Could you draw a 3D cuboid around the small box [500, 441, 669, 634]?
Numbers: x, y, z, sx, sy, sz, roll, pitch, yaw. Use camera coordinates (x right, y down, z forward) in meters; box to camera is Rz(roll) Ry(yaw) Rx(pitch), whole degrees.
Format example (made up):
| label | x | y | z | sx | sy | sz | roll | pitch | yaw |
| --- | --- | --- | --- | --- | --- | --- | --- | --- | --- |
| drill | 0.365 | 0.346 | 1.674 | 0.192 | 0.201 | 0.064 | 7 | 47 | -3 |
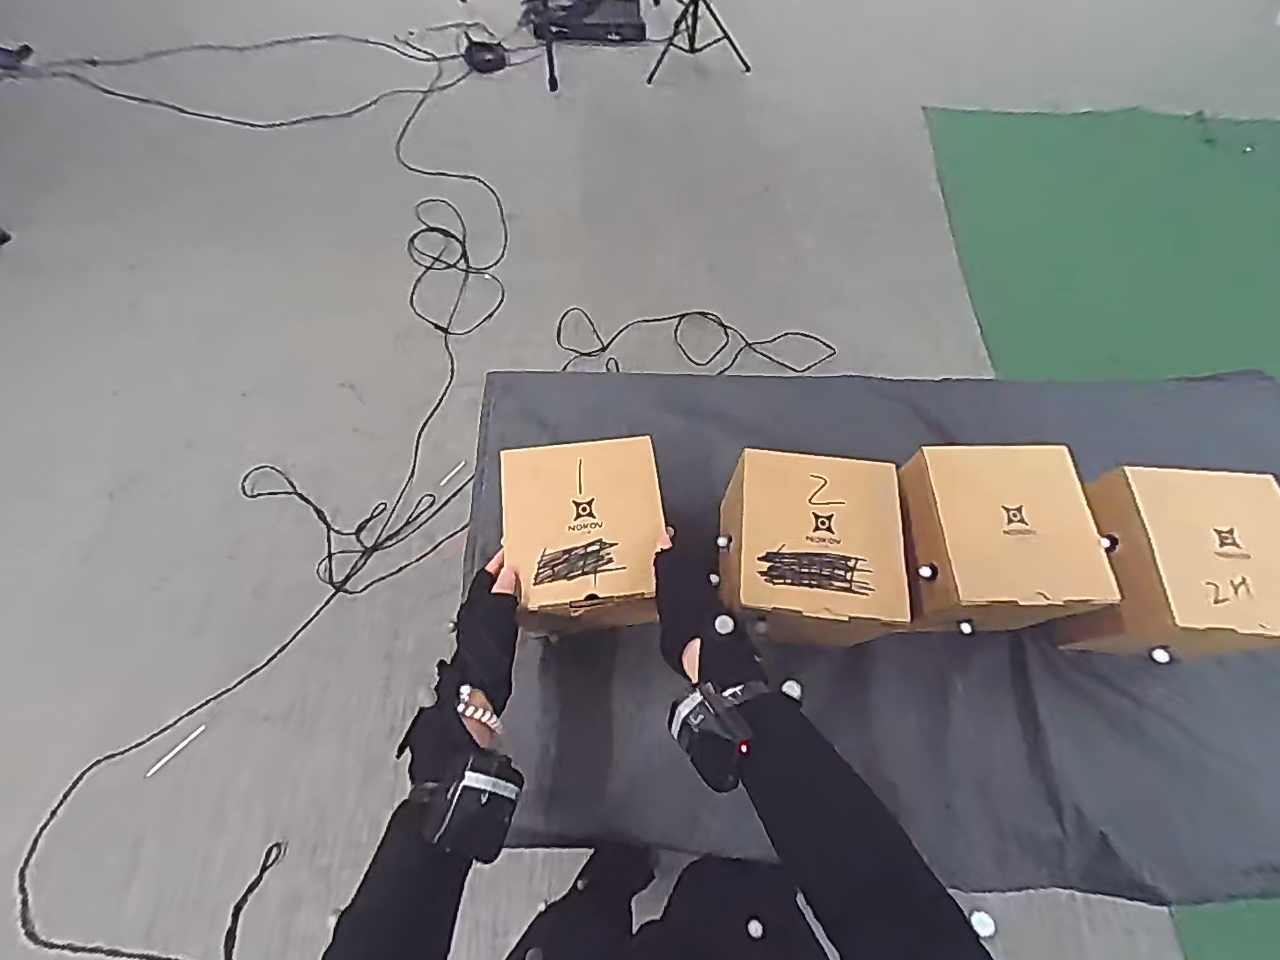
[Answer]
| label | x | y | z | sx | sy | sz | roll | pitch | yaw |
| --- | --- | --- | --- | --- | --- | --- | --- | --- | --- |
| small box | -0.063 | 0.076 | 0.624 | 0.168 | 0.176 | 0.179 | -6 | 66 | -5 |
